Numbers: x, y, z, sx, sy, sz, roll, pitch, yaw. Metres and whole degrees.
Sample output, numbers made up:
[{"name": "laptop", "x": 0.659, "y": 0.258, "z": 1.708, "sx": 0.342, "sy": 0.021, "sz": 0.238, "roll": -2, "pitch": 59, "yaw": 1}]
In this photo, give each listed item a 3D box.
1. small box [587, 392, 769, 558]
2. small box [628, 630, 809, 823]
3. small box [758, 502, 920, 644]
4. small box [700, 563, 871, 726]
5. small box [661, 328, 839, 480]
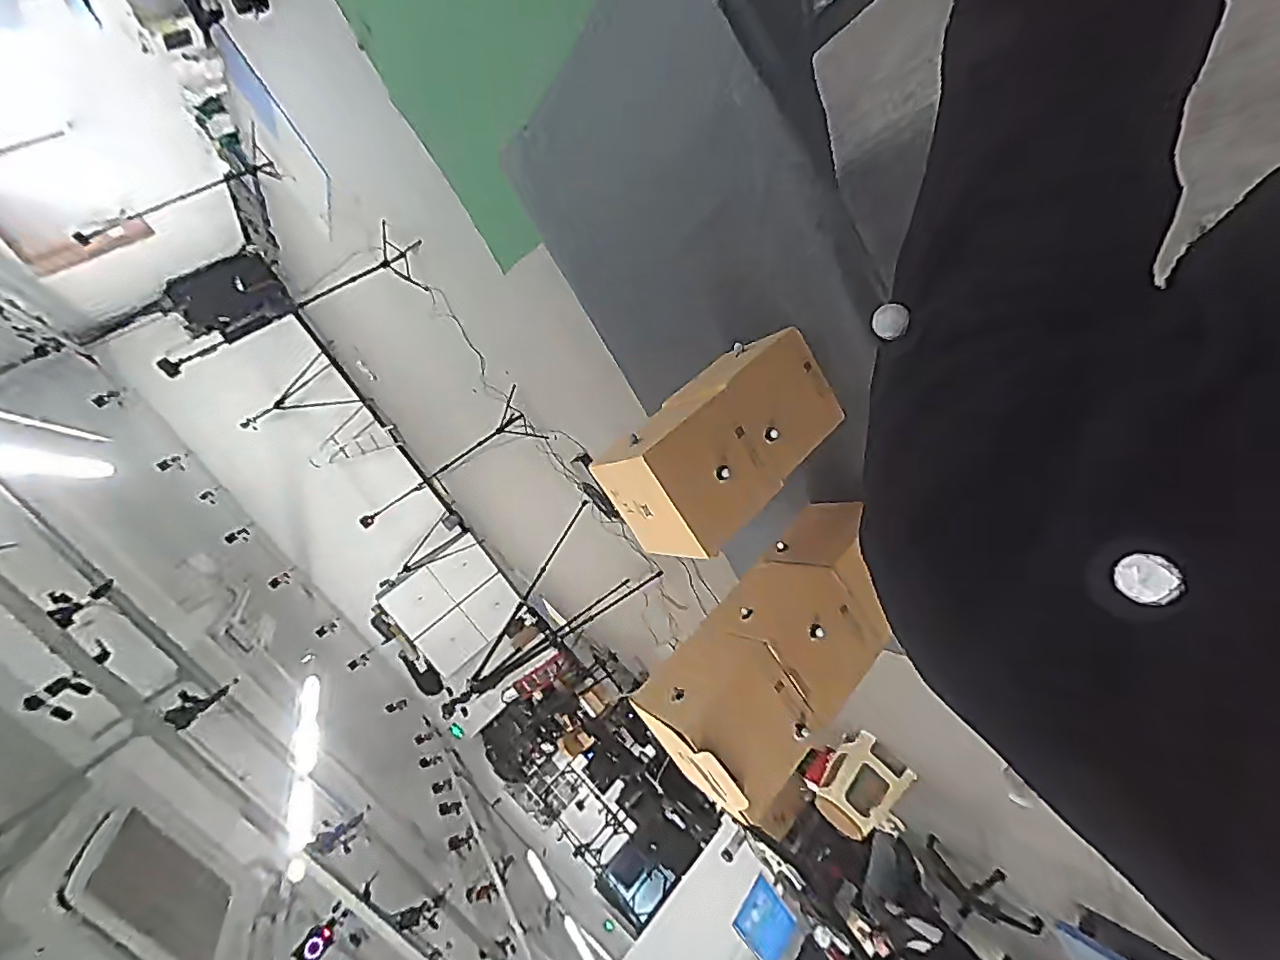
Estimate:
[{"name": "small box", "x": 0.061, "y": -0.008, "z": 0.781, "sx": 0.168, "sy": 0.176, "sz": 0.179, "roll": 57, "pitch": 155, "yaw": -14}, {"name": "small box", "x": 0.120, "y": 0.343, "z": 0.793, "sx": 0.168, "sy": 0.176, "sz": 0.179, "roll": 55, "pitch": 156, "yaw": -10}, {"name": "small box", "x": 0.347, "y": 0.150, "z": 0.928, "sx": 0.168, "sy": 0.176, "sz": 0.179, "roll": 55, "pitch": 155, "yaw": -12}, {"name": "small box", "x": 0.236, "y": 0.247, "z": 0.860, "sx": 0.168, "sy": 0.176, "sz": 0.179, "roll": 56, "pitch": 156, "yaw": -11}, {"name": "small box", "x": 0.172, "y": -0.111, "z": 0.849, "sx": 0.168, "sy": 0.176, "sz": 0.179, "roll": 56, "pitch": 156, "yaw": -14}]
